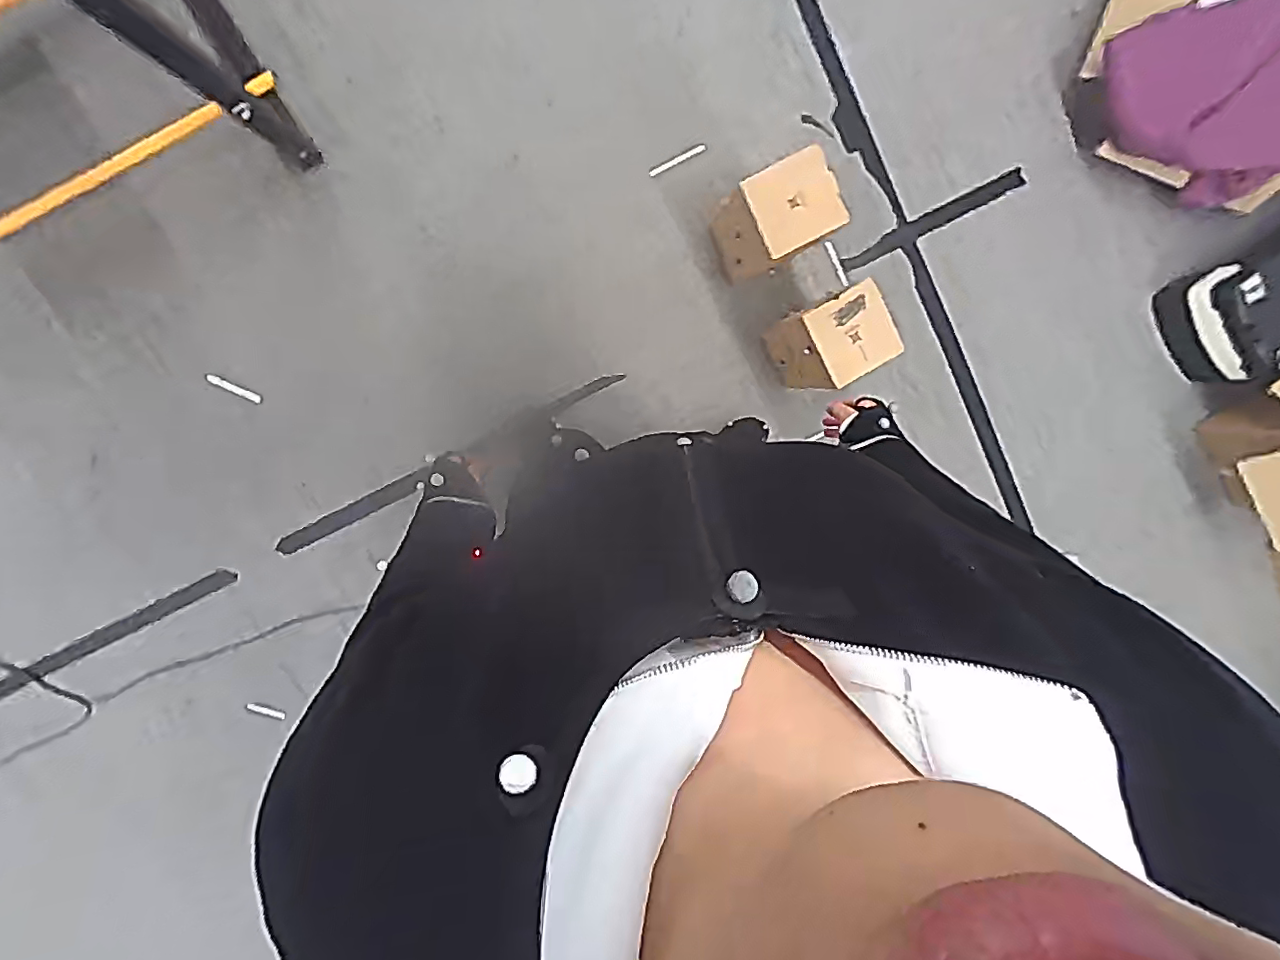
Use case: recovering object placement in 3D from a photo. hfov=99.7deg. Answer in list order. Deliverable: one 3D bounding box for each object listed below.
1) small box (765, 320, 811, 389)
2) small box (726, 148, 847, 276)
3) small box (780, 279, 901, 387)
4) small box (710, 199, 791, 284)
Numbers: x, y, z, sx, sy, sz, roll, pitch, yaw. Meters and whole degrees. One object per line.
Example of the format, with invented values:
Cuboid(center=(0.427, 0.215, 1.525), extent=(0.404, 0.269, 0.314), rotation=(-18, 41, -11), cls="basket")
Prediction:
Cuboid(center=(0.438, -0.345, 1.382), extent=(0.179, 0.176, 0.168), rotation=(-30, 100, 3), cls="small box")
Cuboid(center=(0.307, -0.566, 1.167), extent=(0.179, 0.176, 0.168), rotation=(-27, 99, 3), cls="small box")
Cuboid(center=(0.441, -0.320, 1.218), extent=(0.168, 0.176, 0.179), rotation=(-30, 101, 2), cls="small box")
Cuboid(center=(0.290, -0.598, 1.326), extent=(0.168, 0.176, 0.179), rotation=(-26, 100, 1), cls="small box")
